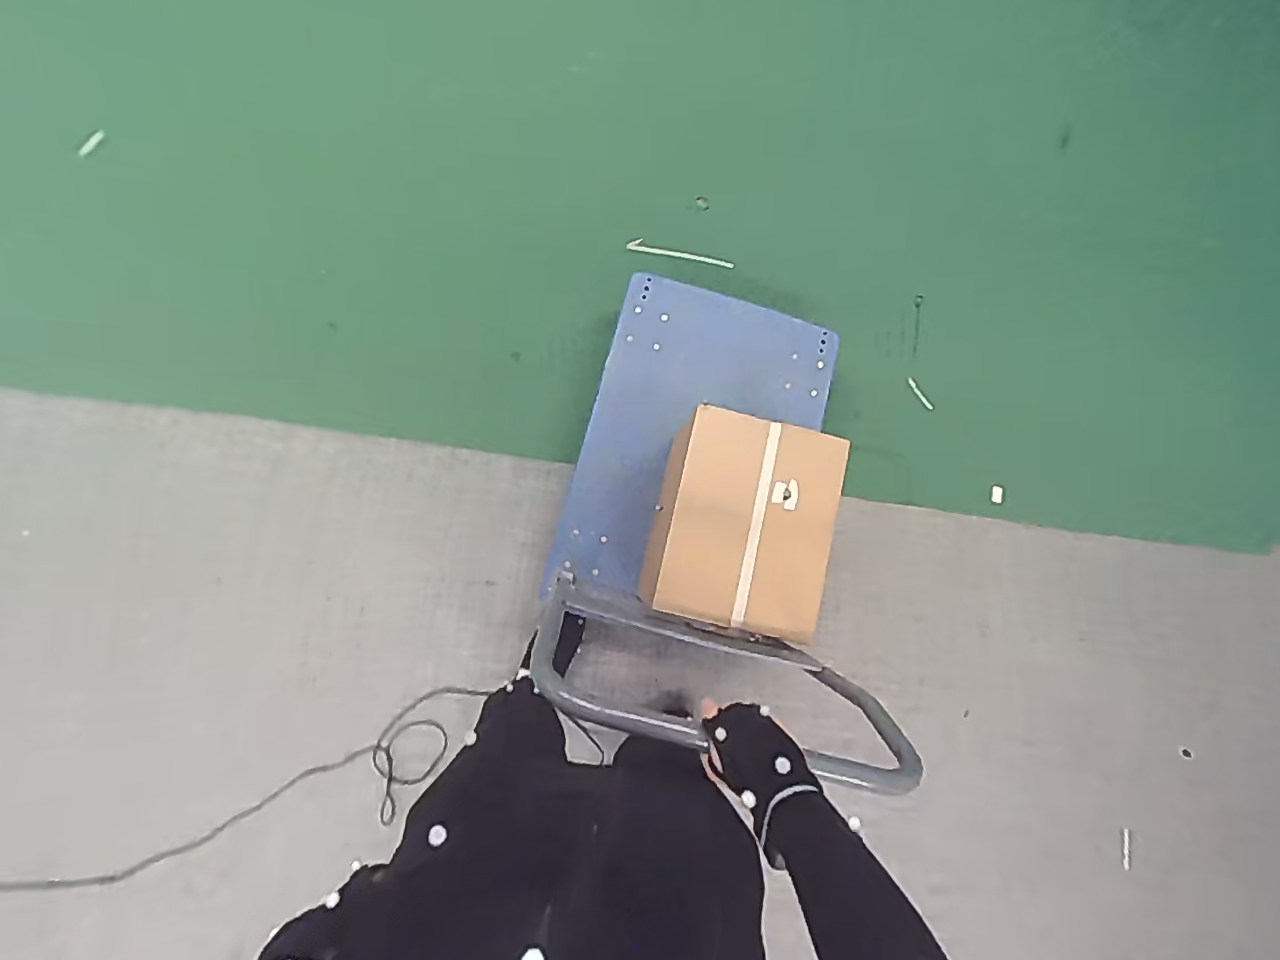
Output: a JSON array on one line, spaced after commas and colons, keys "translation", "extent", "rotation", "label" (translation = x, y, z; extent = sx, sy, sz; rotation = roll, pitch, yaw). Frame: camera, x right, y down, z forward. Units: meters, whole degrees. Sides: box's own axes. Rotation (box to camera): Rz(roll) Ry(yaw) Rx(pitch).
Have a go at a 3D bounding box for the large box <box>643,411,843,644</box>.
[{"translation": [0.204, 0.109, 1.183], "extent": [0.320, 0.320, 0.408], "rotation": [14, 81, -4], "label": "large box"}]
